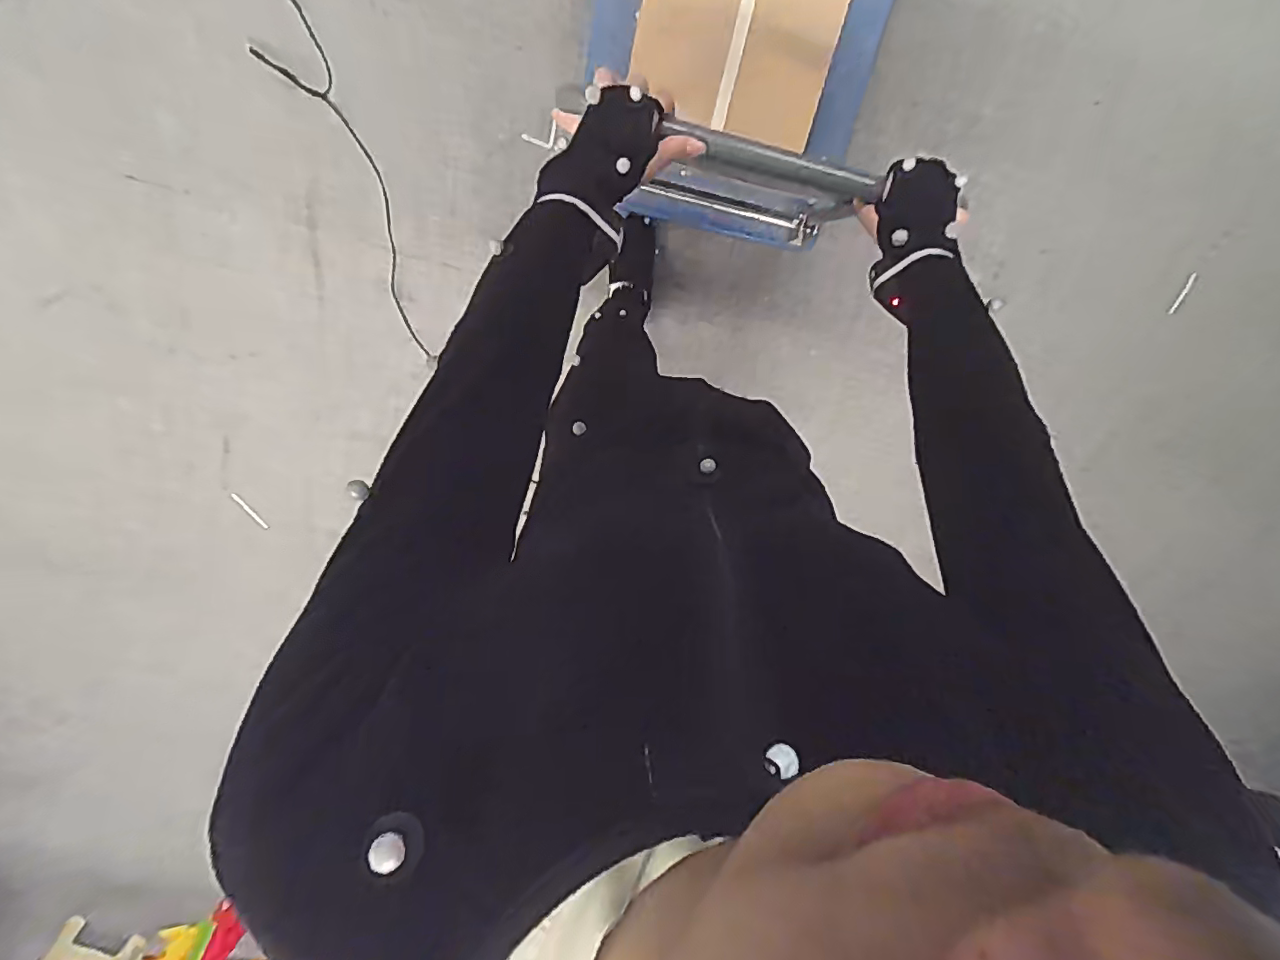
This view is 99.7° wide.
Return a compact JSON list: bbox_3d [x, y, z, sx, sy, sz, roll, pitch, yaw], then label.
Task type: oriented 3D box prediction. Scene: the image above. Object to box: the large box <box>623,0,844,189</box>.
[{"bbox_3d":[0.158,-0.795,0.978,0.320,0.320,0.408,12,111,-7],"label":"large box"}]
